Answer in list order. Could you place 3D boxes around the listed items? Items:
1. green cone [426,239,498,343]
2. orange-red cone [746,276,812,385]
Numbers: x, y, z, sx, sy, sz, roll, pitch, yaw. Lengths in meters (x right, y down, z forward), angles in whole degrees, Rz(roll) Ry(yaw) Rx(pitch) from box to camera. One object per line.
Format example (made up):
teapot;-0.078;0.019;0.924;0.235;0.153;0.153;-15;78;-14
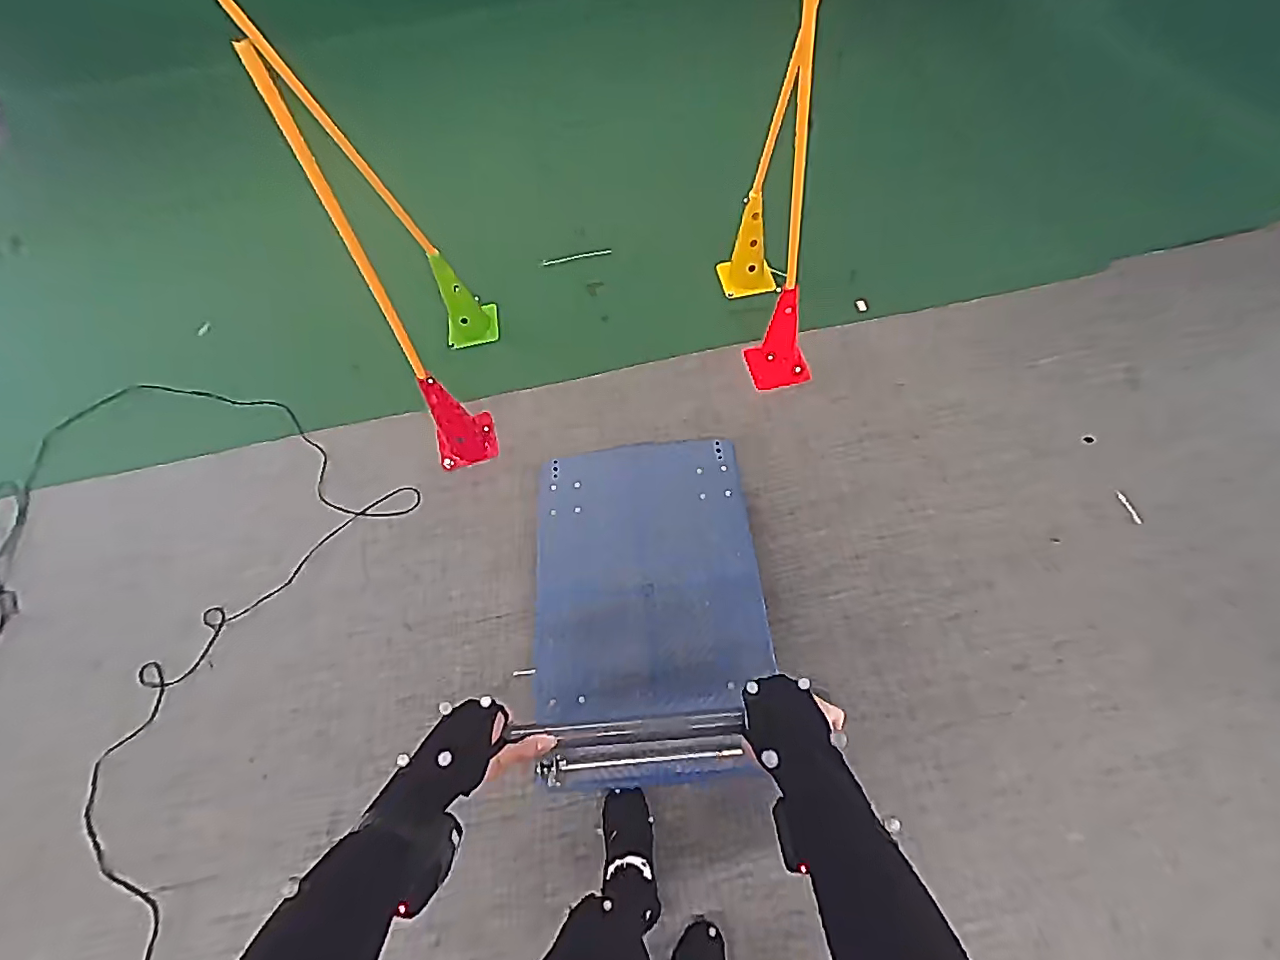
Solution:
green cone;-0.680;-0.711;1.982;0.200;0.368;0.202;-12;60;1
orange-red cone;0.468;-0.504;1.745;0.198;0.360;0.199;-11;59;0
